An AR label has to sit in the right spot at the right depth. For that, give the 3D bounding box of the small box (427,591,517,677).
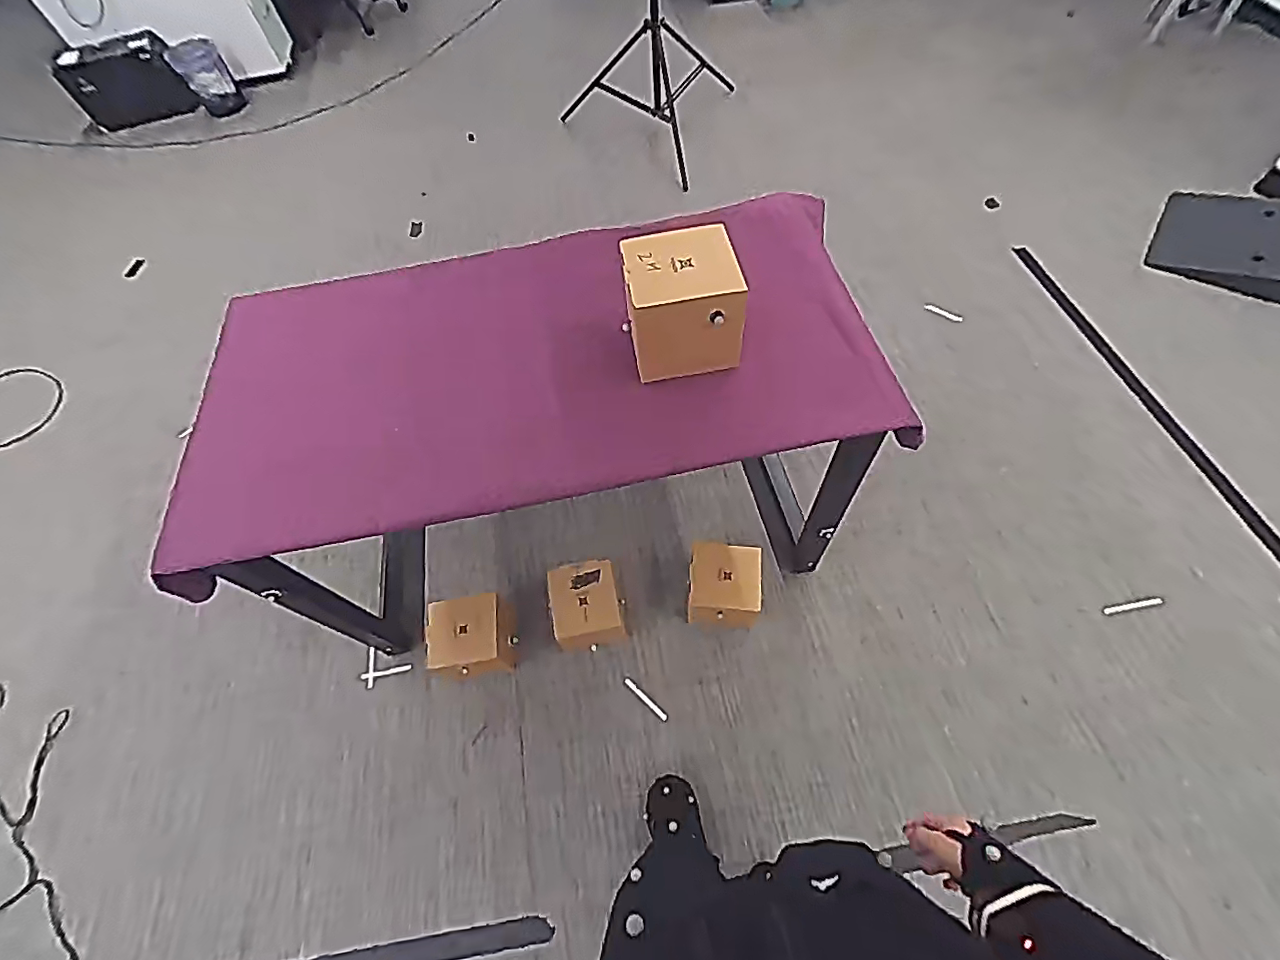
[{"bbox_3d":[-0.427,0.403,1.397,0.179,0.176,0.168,-9,61,-1],"label":"small box"}]

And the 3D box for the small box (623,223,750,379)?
[{"bbox_3d":[0.073,-0.292,0.903,0.179,0.176,0.168,-10,59,0],"label":"small box"}]

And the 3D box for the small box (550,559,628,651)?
[{"bbox_3d":[-0.131,0.328,1.410,0.168,0.176,0.179,-12,61,-1],"label":"small box"}]

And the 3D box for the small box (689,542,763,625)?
[{"bbox_3d":[0.222,0.274,1.410,0.179,0.176,0.168,3,61,8],"label":"small box"}]
